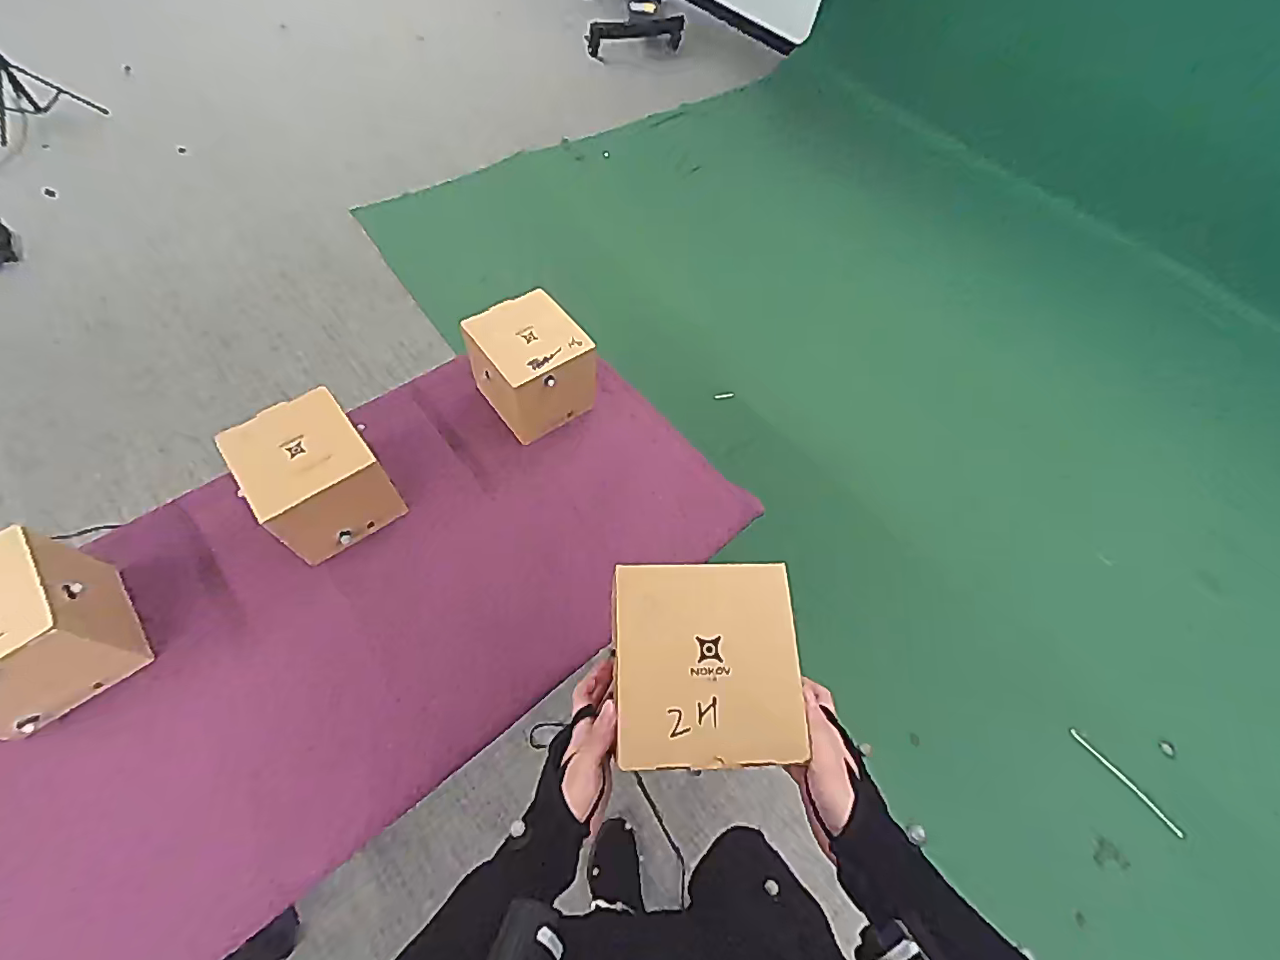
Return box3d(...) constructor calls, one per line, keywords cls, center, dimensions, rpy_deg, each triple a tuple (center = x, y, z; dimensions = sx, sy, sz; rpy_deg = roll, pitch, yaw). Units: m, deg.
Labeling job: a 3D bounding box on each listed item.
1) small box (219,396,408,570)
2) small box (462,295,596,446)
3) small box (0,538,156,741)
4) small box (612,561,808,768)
box3d(cls="small box", center=(-0.497, 0.009, 0.845), dimensions=(0.168, 0.176, 0.179), rpy_deg=(-34, 68, -21))
box3d(cls="small box", center=(-0.196, -0.195, 0.987), dimensions=(0.168, 0.176, 0.179), rpy_deg=(-34, 66, -20))
box3d(cls="small box", center=(-0.789, 0.212, 0.699), dimensions=(0.168, 0.176, 0.179), rpy_deg=(-36, 67, -22))
box3d(cls="small box", center=(0.055, 0.190, 0.556), dimensions=(0.168, 0.176, 0.179), rpy_deg=(-1, 67, -3))
